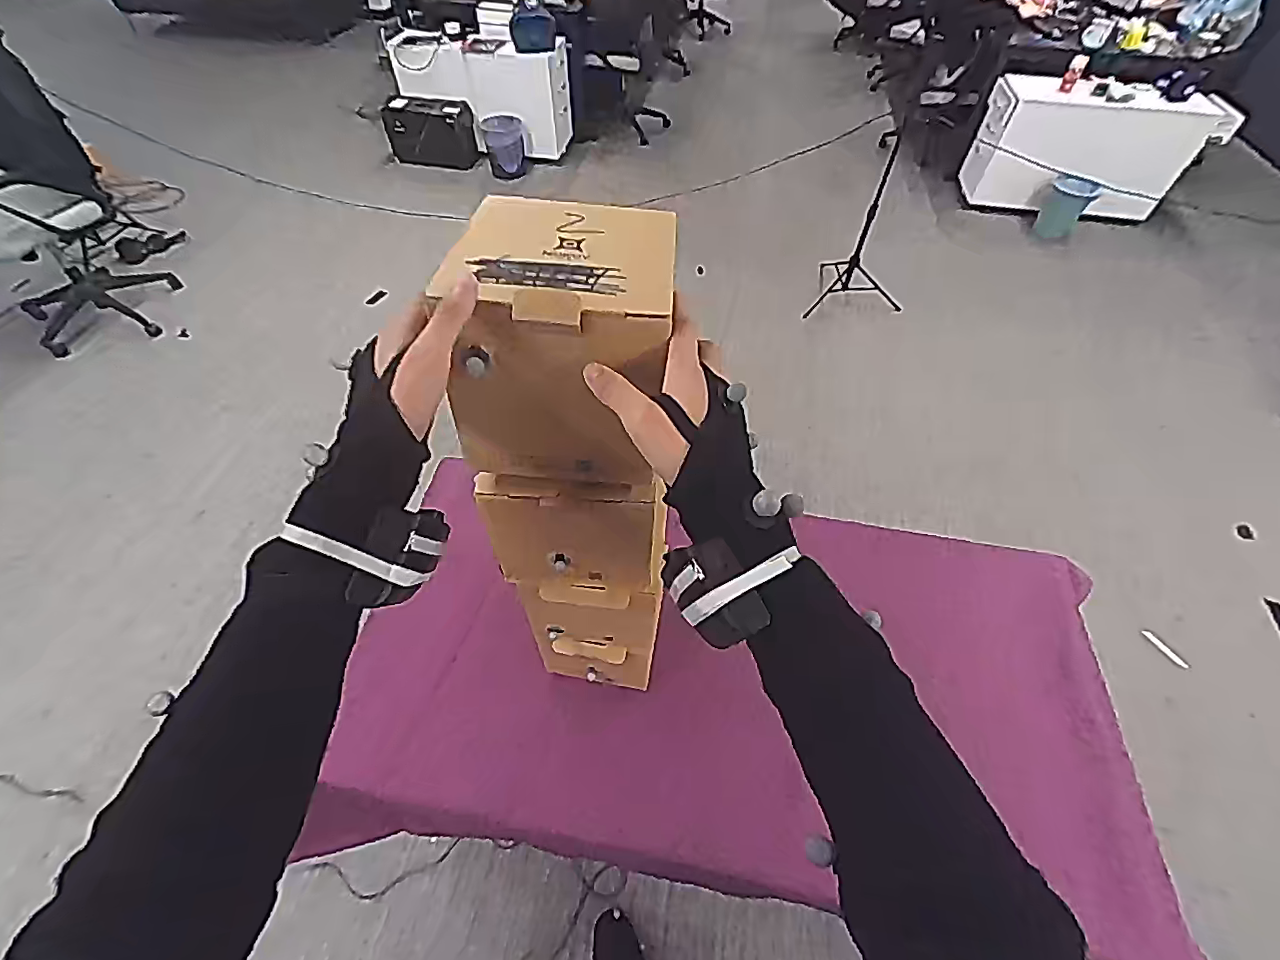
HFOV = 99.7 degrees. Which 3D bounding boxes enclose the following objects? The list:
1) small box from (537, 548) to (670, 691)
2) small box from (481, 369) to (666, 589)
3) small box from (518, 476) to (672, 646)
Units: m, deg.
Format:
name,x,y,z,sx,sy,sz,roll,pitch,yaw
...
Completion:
name,x,y,z,sx,sy,sz,roll,pitch,yaw
small box,-0.051,0.207,0.852,0.168,0.176,0.179,9,53,6
small box,-0.061,0.001,0.597,0.168,0.176,0.179,3,53,1
small box,-0.049,0.105,0.723,0.168,0.176,0.179,6,51,3
